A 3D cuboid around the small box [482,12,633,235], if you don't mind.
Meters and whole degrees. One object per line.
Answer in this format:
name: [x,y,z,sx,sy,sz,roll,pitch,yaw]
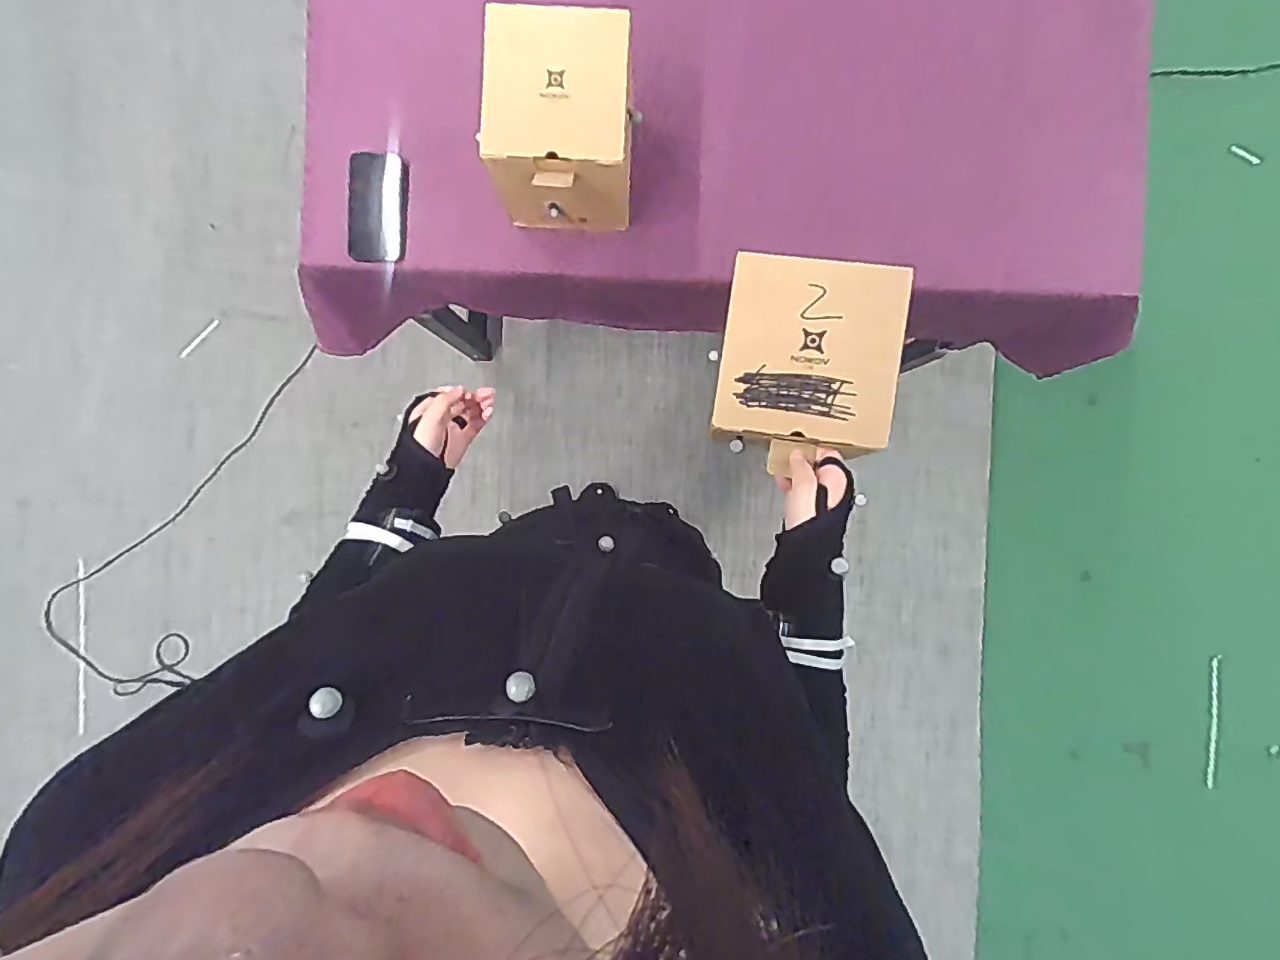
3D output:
small box: [-0.097,-0.446,0.702,0.168,0.176,0.179,3,90,-1]
